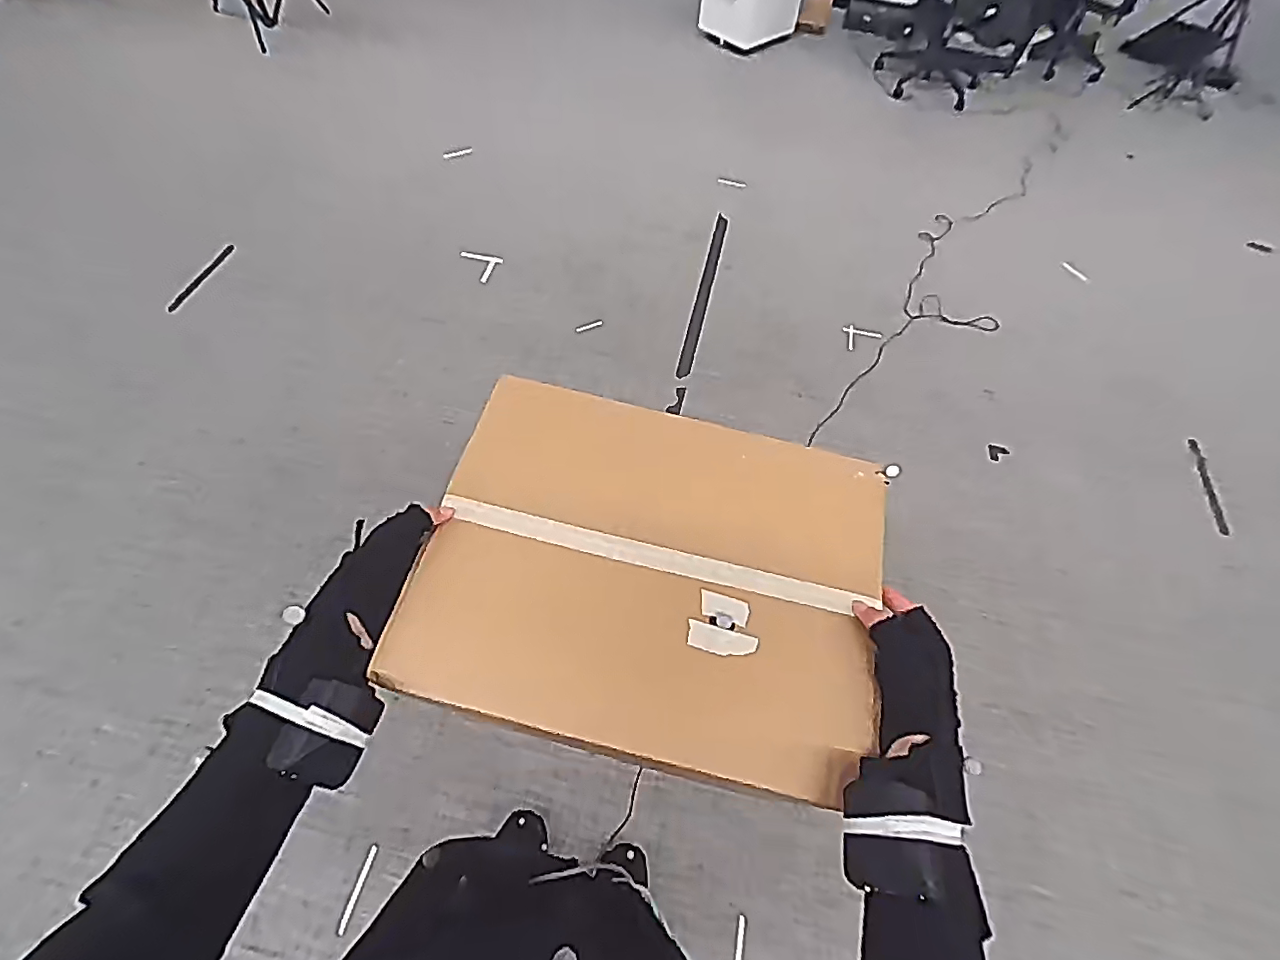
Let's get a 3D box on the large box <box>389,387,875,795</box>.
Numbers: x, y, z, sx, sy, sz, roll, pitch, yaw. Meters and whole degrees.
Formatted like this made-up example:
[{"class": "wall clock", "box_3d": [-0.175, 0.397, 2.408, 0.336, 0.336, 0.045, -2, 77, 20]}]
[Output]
[{"class": "large box", "box_3d": [0.005, 0.142, 0.630, 0.408, 0.320, 0.320, 14, 63, 2]}]
